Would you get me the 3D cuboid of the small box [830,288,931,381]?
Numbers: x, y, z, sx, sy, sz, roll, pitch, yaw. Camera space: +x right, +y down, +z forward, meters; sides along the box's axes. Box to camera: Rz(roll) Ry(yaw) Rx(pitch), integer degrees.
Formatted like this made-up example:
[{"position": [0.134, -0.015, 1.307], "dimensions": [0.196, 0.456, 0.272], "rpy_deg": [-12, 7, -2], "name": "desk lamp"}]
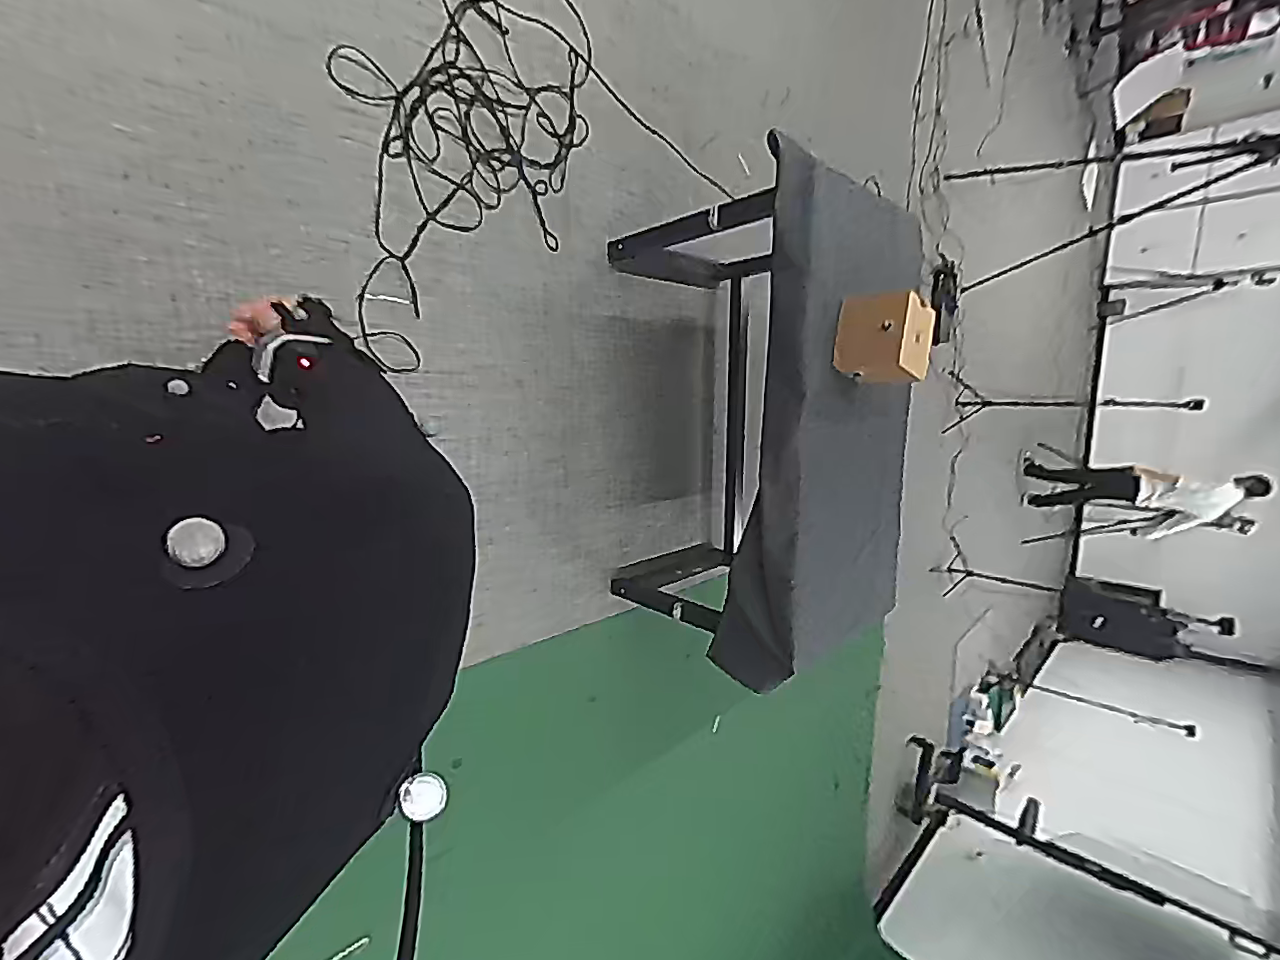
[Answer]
[{"position": [0.587, -0.348, 1.326], "dimensions": [0.168, 0.176, 0.179], "rpy_deg": [9, 91, -43], "name": "small box"}]
